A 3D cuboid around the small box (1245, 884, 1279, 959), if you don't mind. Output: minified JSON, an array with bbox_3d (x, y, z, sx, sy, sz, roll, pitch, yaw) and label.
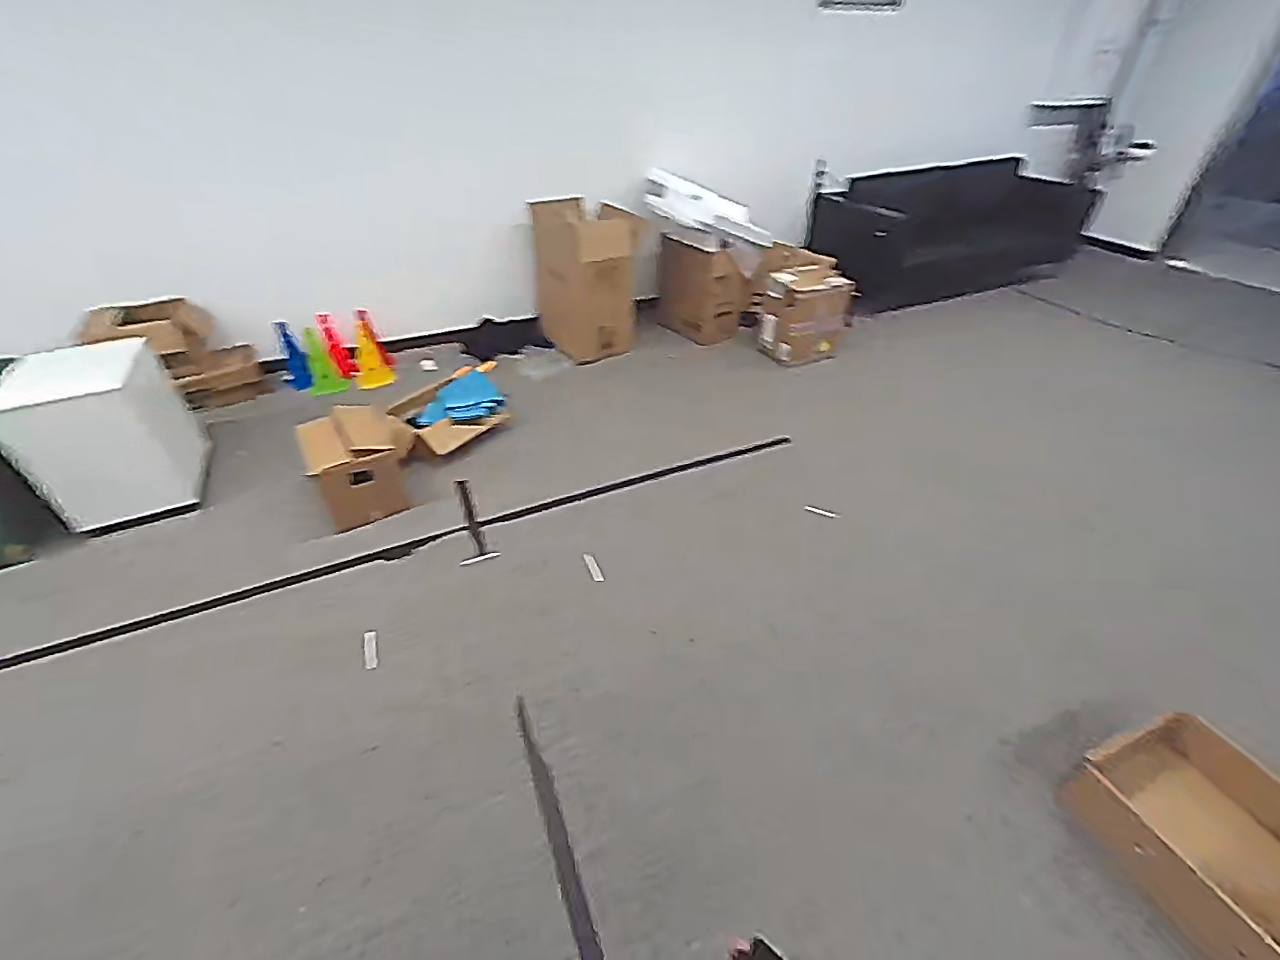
[{"bbox_3d":[1.397,0.946,1.093,0.179,0.176,0.168,-24,43,-28],"label":"small box"}]
